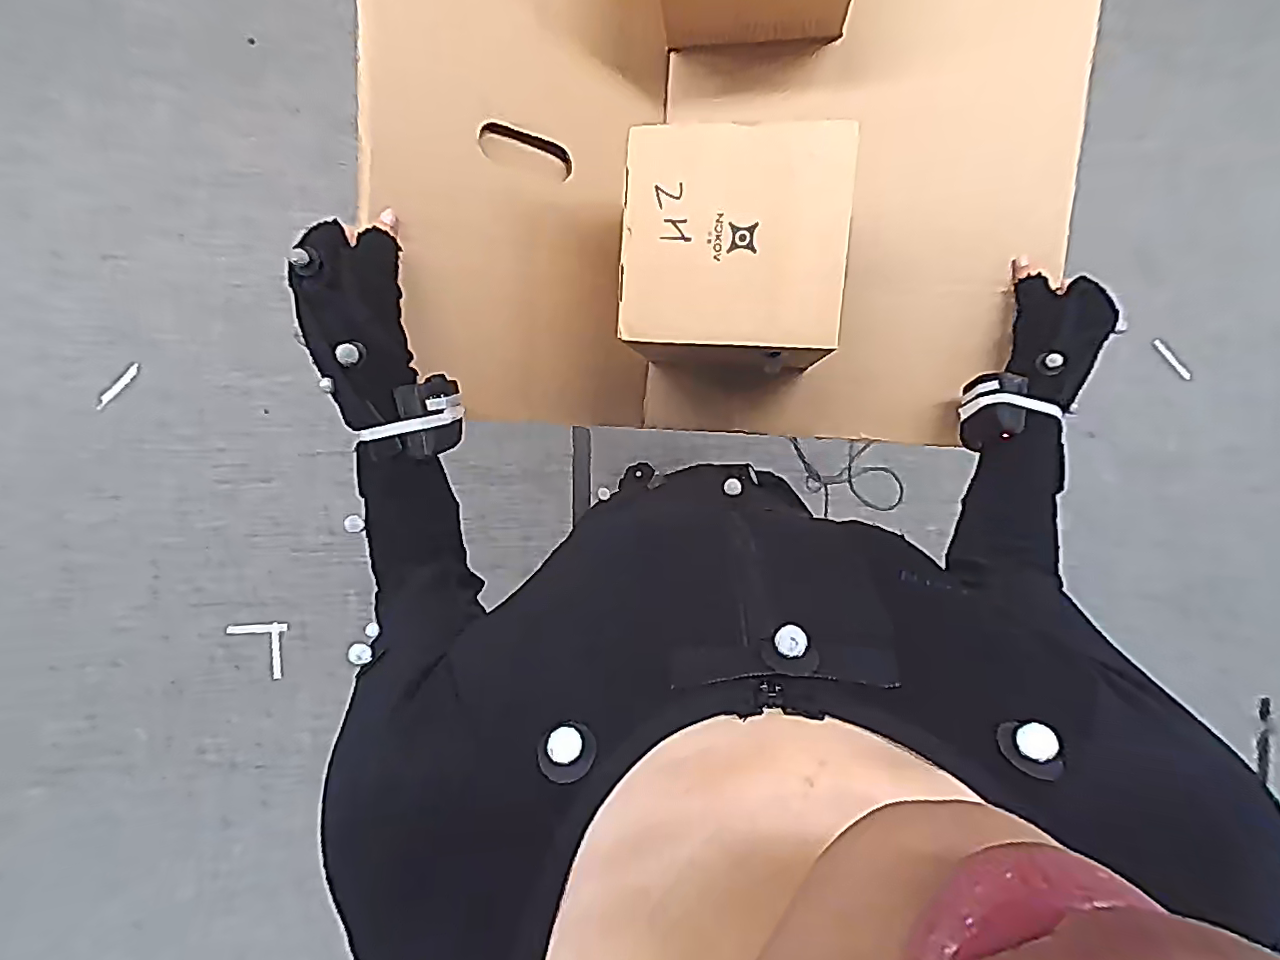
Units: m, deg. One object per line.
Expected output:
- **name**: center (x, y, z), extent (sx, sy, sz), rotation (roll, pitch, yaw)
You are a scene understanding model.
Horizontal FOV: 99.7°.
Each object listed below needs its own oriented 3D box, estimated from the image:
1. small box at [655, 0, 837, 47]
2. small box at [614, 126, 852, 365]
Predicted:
- **small box**: center (0.098, -0.516, 0.467), extent (0.179, 0.176, 0.168), rotation (4, 97, 9)
- **small box**: center (0.082, -0.201, 0.506), extent (0.179, 0.176, 0.168), rotation (5, 97, 10)
